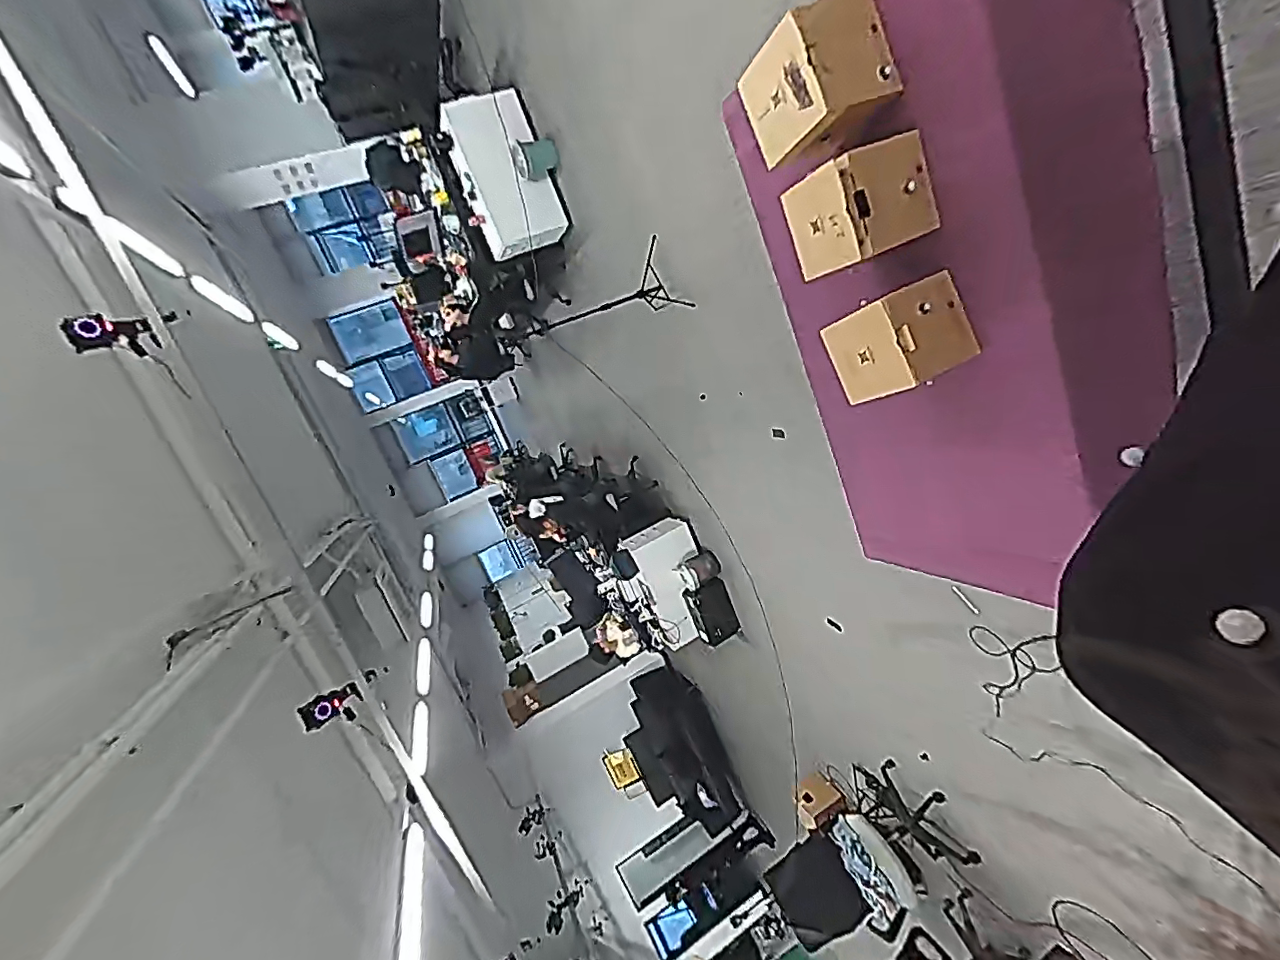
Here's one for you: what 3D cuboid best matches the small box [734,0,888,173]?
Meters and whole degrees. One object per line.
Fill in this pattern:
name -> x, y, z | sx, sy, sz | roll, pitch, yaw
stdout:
small box -> 0.302, -0.682, 0.945 | 0.168, 0.176, 0.179 | 66, 164, -8

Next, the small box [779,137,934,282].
small box -> 0.389, -0.483, 0.980 | 0.168, 0.176, 0.179 | 67, 162, -14

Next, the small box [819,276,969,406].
small box -> 0.486, -0.261, 1.029 | 0.168, 0.176, 0.179 | 65, 163, -4
